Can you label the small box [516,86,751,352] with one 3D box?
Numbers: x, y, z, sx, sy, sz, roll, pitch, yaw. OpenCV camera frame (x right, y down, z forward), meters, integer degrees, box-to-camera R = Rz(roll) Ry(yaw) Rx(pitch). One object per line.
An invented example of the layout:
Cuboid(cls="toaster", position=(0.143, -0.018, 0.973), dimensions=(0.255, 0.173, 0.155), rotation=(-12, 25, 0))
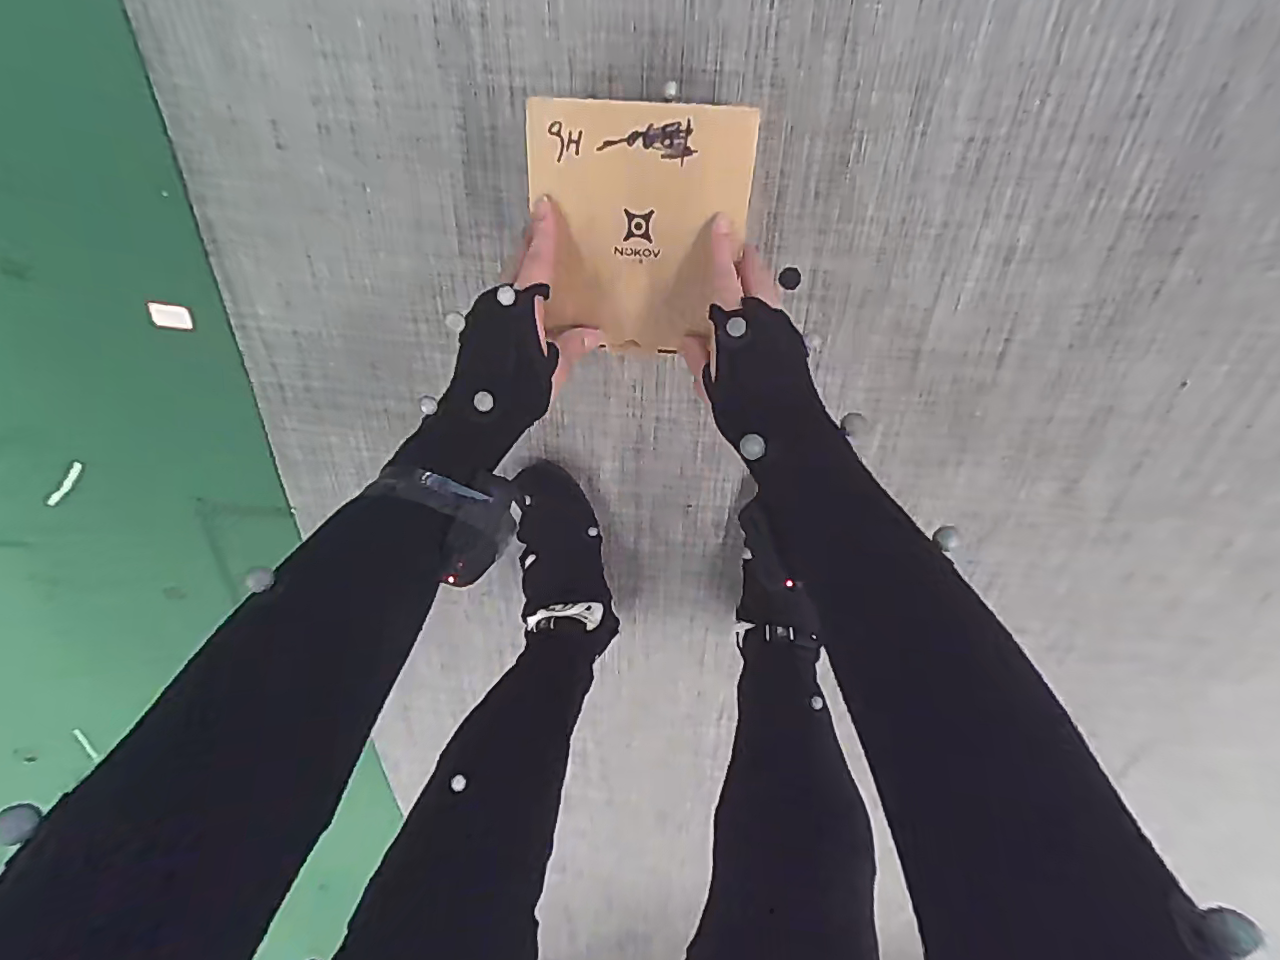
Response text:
Cuboid(cls="small box", position=(-0.002, -0.228, 0.478), dimensions=(0.168, 0.176, 0.179), rotation=(5, 120, 3))
